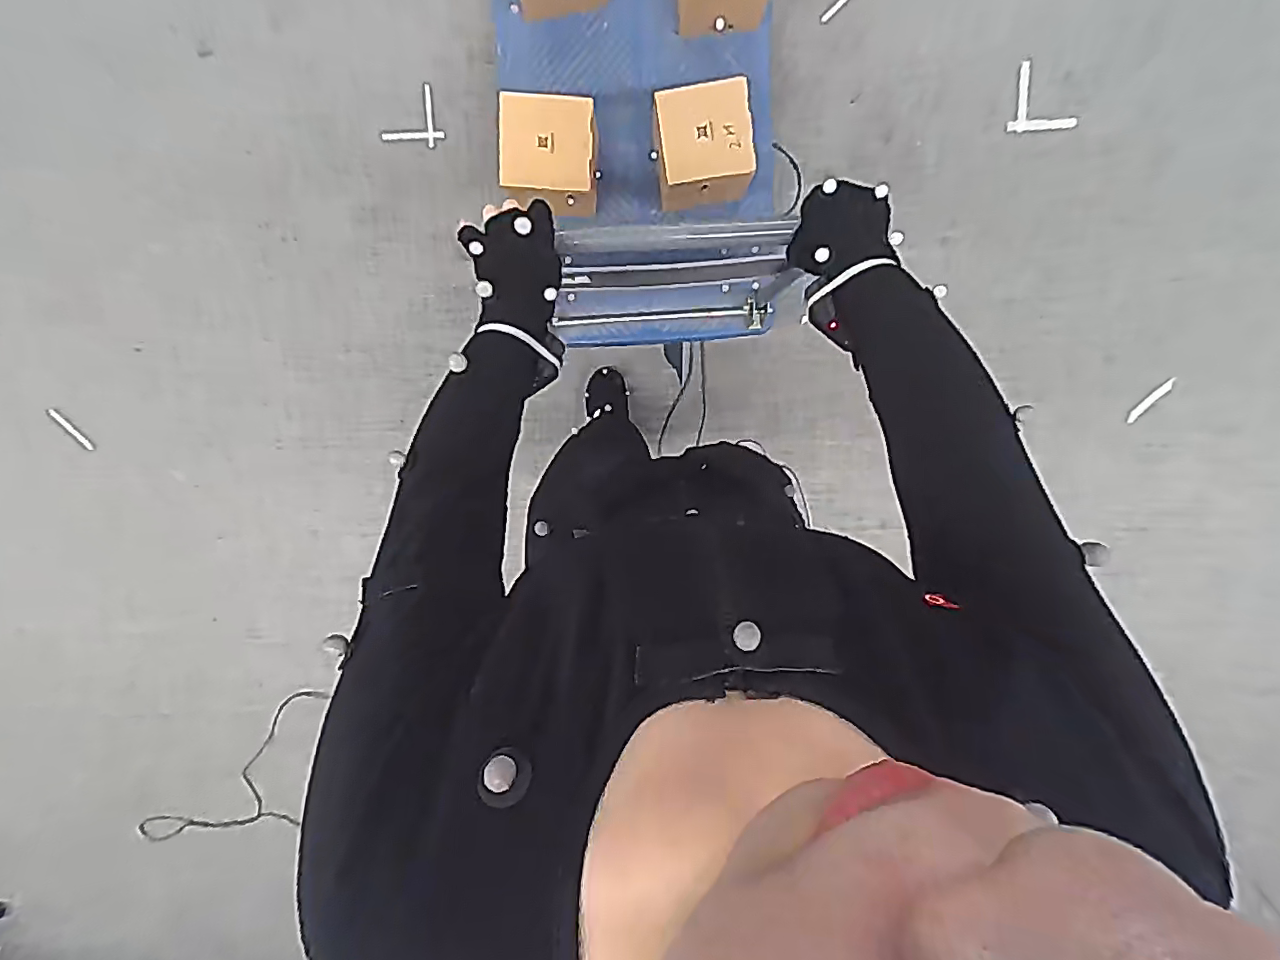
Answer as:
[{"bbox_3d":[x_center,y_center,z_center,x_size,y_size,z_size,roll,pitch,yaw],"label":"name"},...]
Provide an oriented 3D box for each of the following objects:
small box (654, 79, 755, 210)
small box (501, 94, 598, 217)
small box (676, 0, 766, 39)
[{"bbox_3d":[0.124,-0.675,1.109,0.179,0.176,0.168,-9,101,1],"label":"small box"},{"bbox_3d":[-0.180,-0.653,1.108,0.179,0.176,0.168,2,100,-3],"label":"small box"},{"bbox_3d":[0.156,-1.008,1.047,0.168,0.176,0.179,-7,102,0],"label":"small box"}]
